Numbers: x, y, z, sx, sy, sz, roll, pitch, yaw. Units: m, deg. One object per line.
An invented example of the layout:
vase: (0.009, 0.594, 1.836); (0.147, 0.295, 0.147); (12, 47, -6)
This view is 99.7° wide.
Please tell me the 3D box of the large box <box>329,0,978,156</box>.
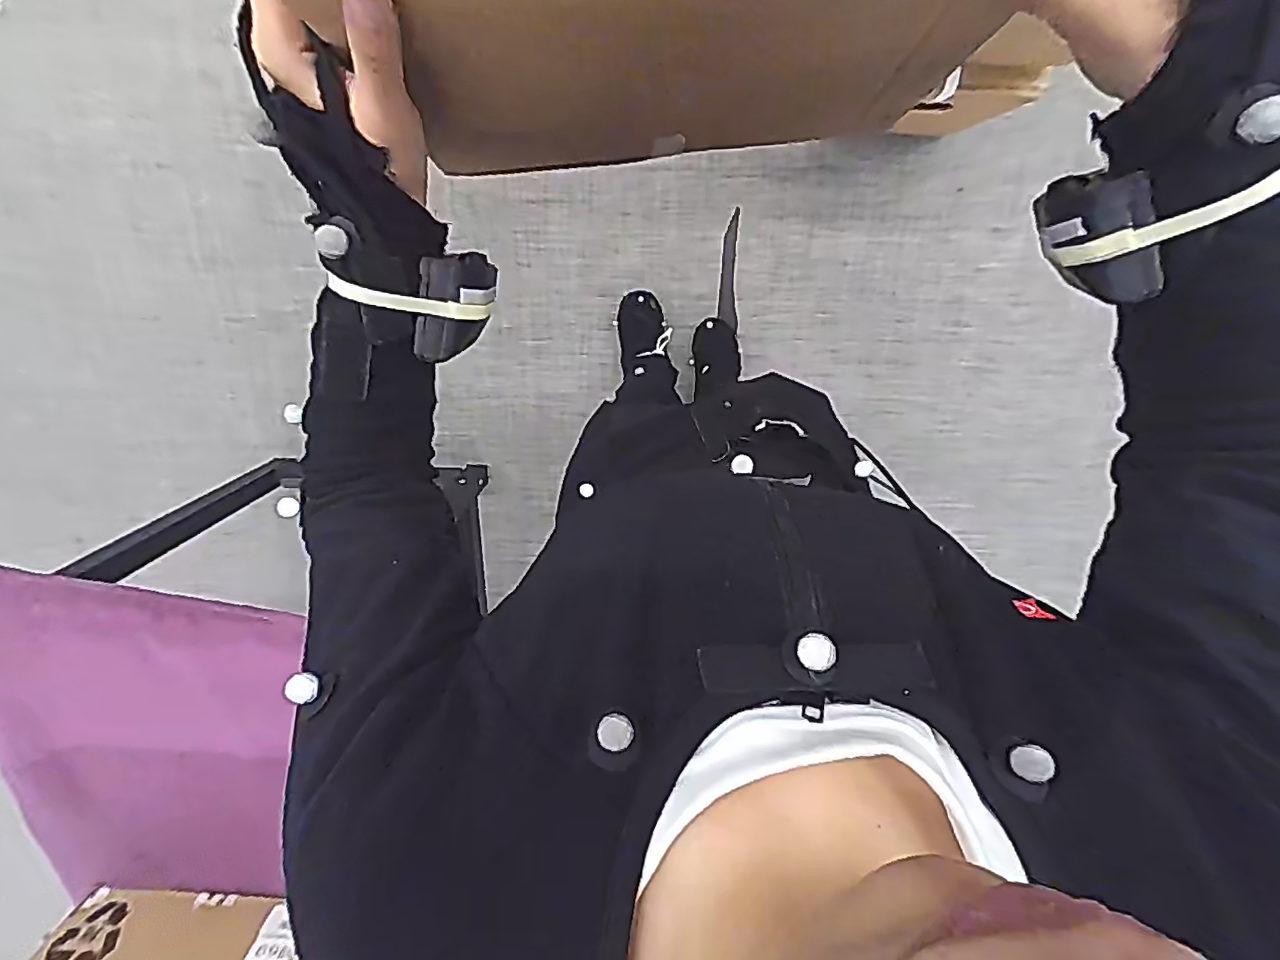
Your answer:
large box: (-0.002, -0.403, 0.190); (0.320, 0.320, 0.408); (-7, 102, 1)
